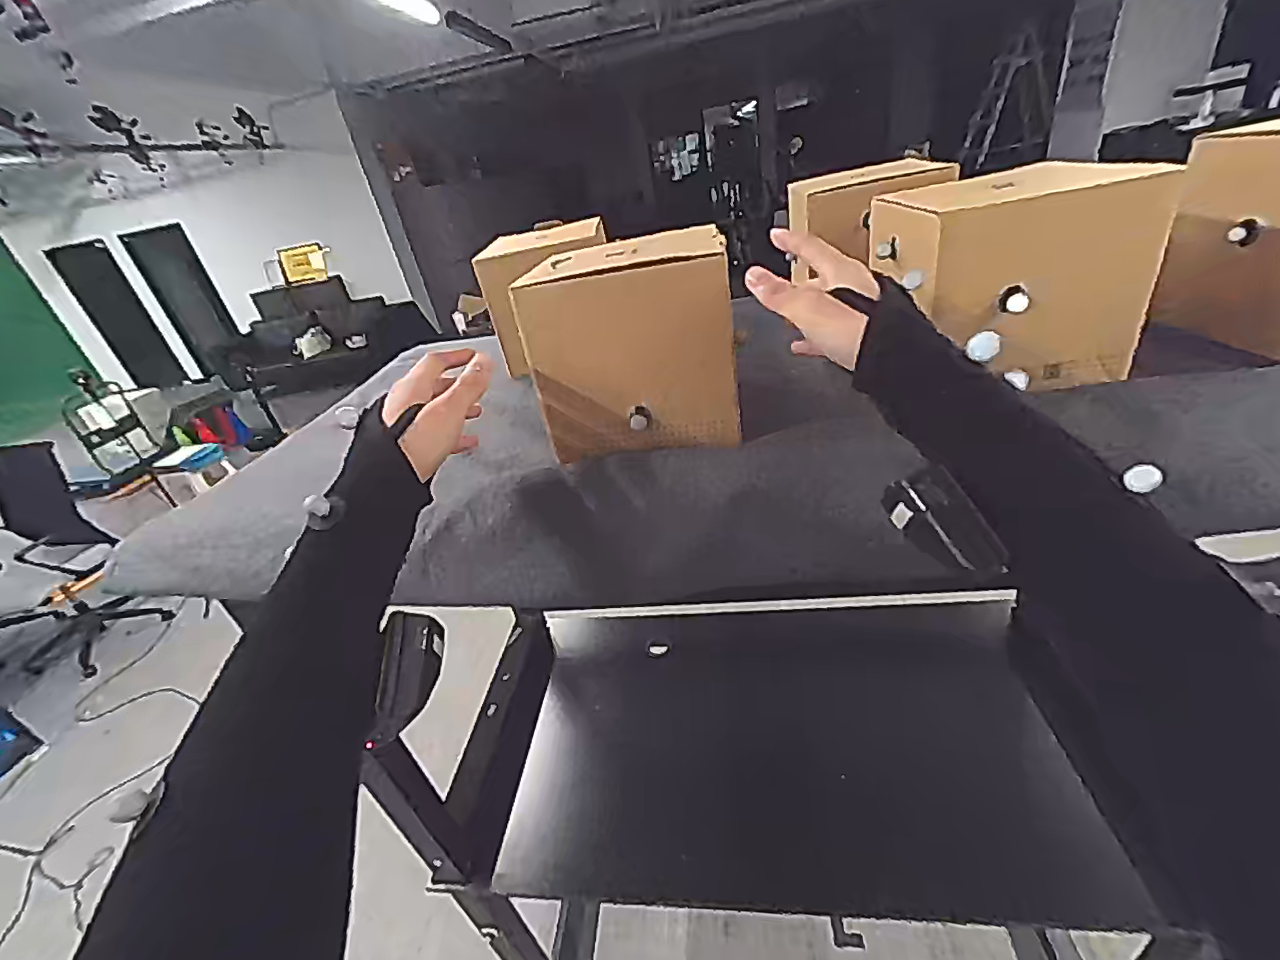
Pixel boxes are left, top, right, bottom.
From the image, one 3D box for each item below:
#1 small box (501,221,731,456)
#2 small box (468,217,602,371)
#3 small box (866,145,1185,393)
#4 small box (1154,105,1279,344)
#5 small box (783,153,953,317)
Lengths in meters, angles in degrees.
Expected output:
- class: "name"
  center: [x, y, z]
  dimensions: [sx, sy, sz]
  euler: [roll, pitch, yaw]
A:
- class: "small box"
  center: [-0.005, -0.137, 0.518]
  dimensions: [0.179, 0.176, 0.168]
  euler: [-5, 29, 9]
- class: "small box"
  center: [-0.127, -0.275, 0.795]
  dimensions: [0.168, 0.176, 0.179]
  euler: [-10, 30, 5]
- class: "small box"
  center: [0.314, -0.186, 0.489]
  dimensions: [0.168, 0.176, 0.179]
  euler: [-7, 29, 8]
- class: "small box"
  center: [0.582, -0.214, 0.433]
  dimensions: [0.168, 0.176, 0.179]
  euler: [-9, 29, 6]
- class: "small box"
  center: [0.298, -0.332, 0.737]
  dimensions: [0.179, 0.176, 0.168]
  euler: [-6, 31, 10]
